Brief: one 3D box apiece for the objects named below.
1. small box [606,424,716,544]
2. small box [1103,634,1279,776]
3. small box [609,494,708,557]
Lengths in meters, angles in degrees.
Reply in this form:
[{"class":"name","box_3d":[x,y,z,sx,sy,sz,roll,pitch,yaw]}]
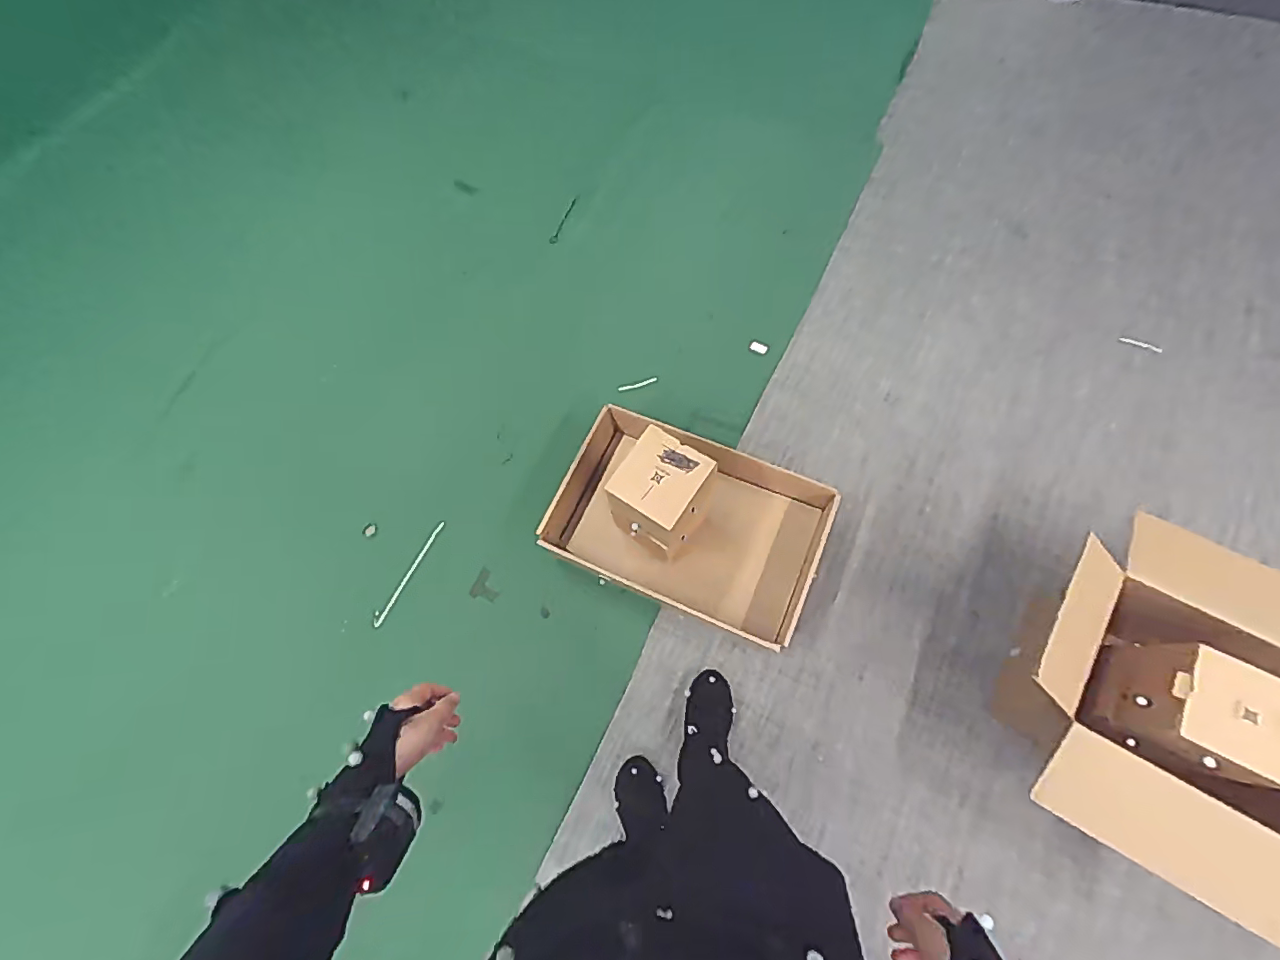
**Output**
[{"class":"small box","box_3d":[0.047,0.014,1.180,0.168,0.176,0.179,32,76,14]},{"class":"small box","box_3d":[0.998,0.399,0.977,0.179,0.176,0.168,26,76,13]},{"class":"small box","box_3d":[0.047,0.073,1.335,0.179,0.176,0.168,35,75,15]}]
